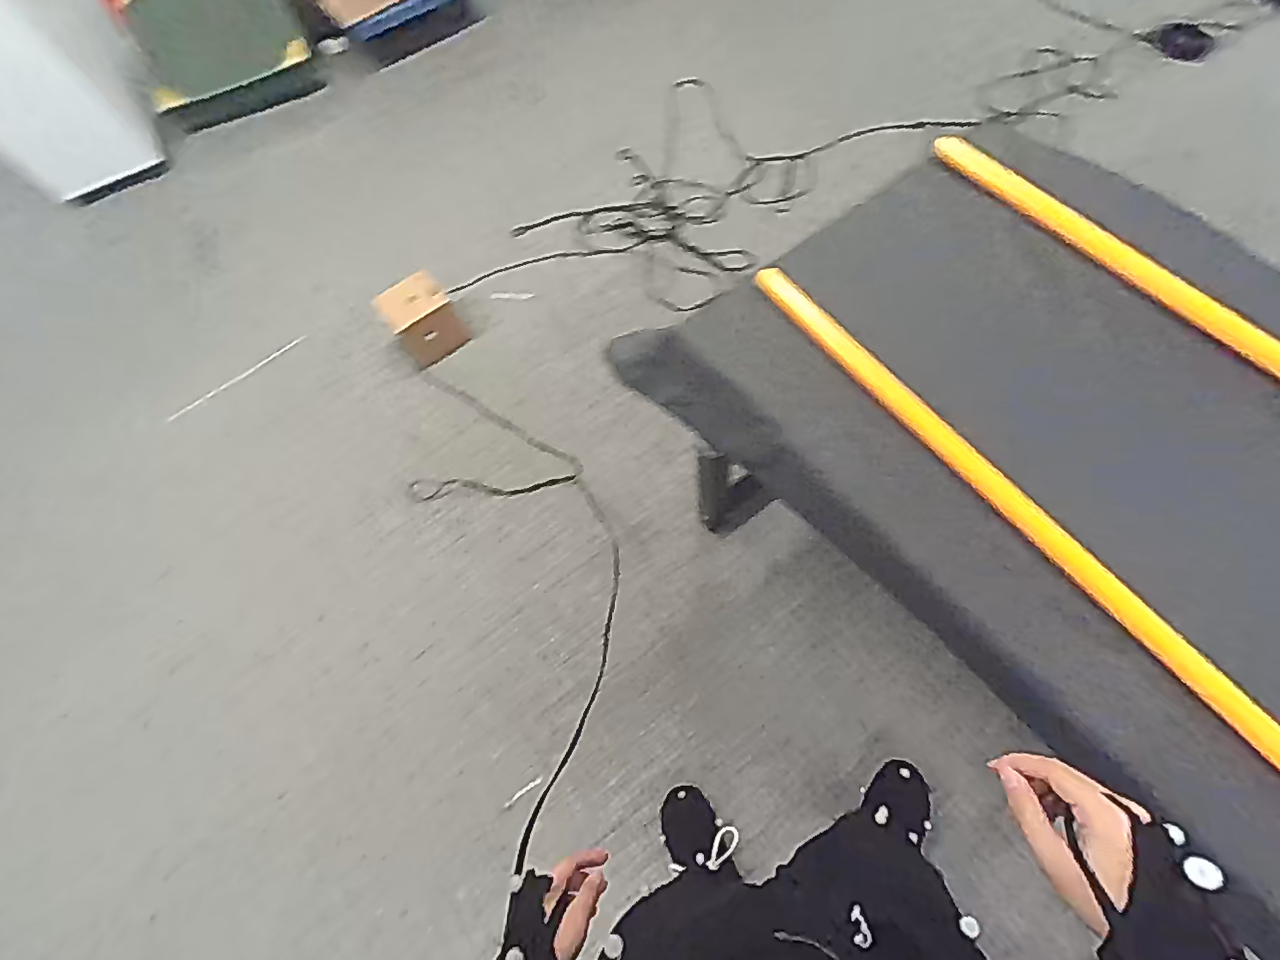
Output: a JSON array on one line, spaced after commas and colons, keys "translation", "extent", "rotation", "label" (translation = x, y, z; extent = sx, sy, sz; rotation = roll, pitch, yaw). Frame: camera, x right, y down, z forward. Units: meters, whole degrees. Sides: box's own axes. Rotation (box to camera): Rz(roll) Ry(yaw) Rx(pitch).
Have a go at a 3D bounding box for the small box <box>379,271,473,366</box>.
[{"translation": [-0.634, -0.479, 1.624], "extent": [0.179, 0.176, 0.168], "rotation": [-38, 68, -11], "label": "small box"}]
